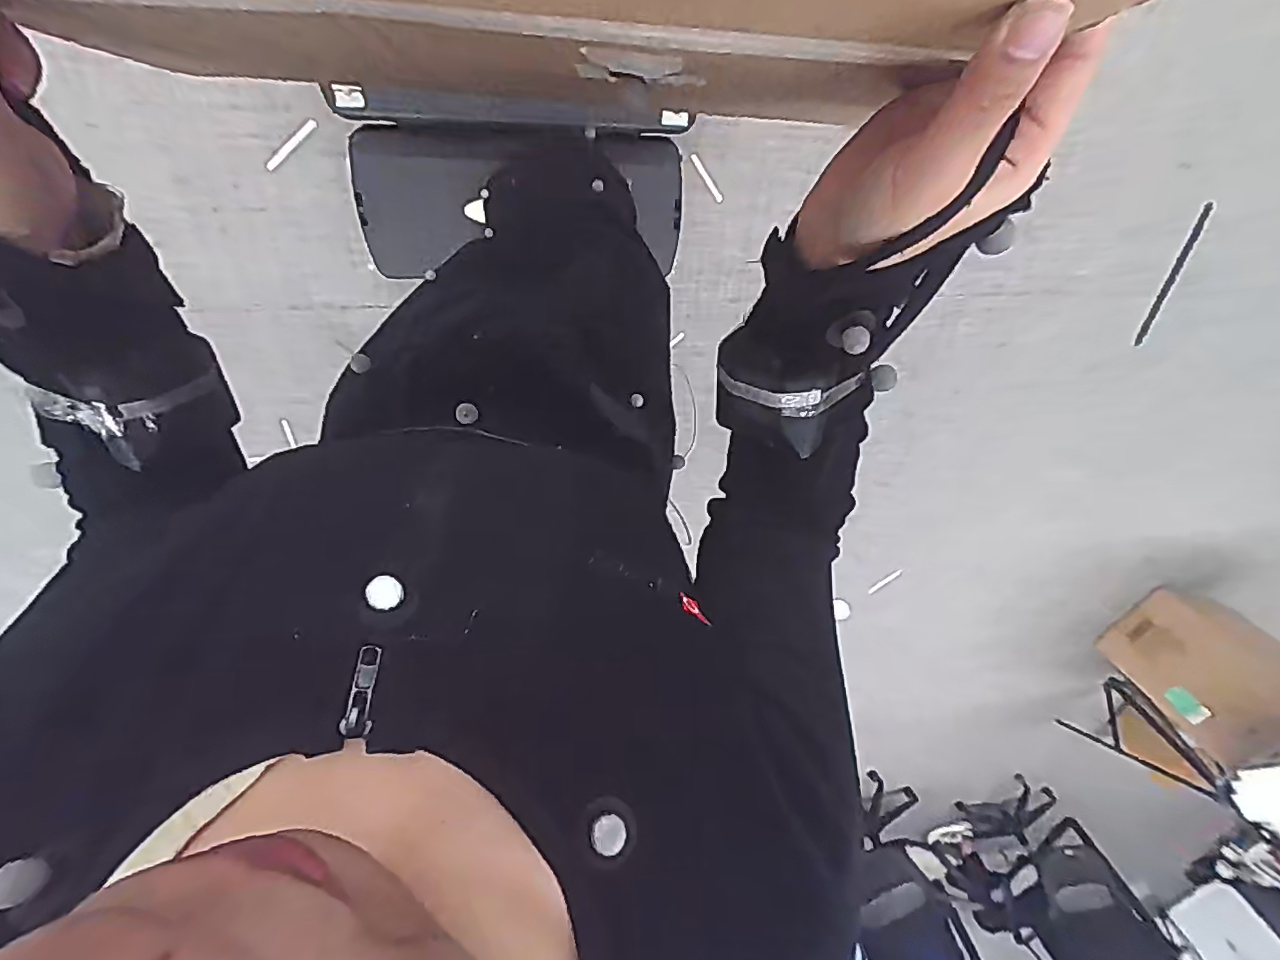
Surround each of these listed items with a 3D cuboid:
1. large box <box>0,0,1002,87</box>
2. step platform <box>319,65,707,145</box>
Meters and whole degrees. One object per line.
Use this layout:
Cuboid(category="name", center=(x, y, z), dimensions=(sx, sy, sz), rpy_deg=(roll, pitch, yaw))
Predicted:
Cuboid(category="large box", center=(-0.073, -0.304, 0.109), dimensions=(0.408, 0.320, 0.320), rpy_deg=(2, 117, 0))
Cuboid(category="step platform", center=(-0.211, -0.800, 0.957), dimensions=(0.684, 0.204, 0.286), rpy_deg=(0, 124, -12))
